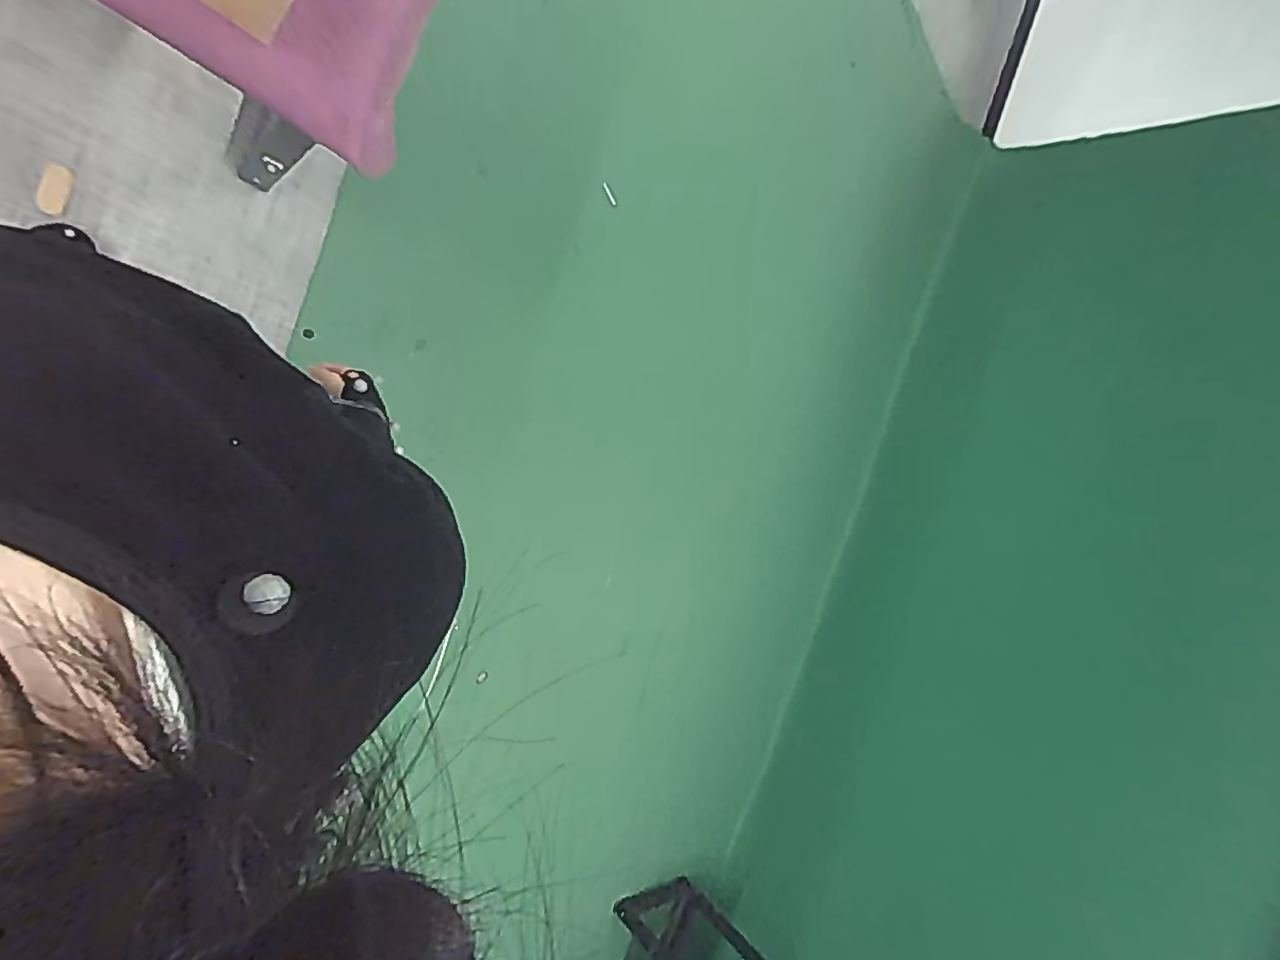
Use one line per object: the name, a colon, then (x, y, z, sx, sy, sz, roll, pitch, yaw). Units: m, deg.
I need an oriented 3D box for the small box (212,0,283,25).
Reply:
small box: (-0.385, -0.555, 0.466, 0.179, 0.176, 0.168, 18, 92, -45)
